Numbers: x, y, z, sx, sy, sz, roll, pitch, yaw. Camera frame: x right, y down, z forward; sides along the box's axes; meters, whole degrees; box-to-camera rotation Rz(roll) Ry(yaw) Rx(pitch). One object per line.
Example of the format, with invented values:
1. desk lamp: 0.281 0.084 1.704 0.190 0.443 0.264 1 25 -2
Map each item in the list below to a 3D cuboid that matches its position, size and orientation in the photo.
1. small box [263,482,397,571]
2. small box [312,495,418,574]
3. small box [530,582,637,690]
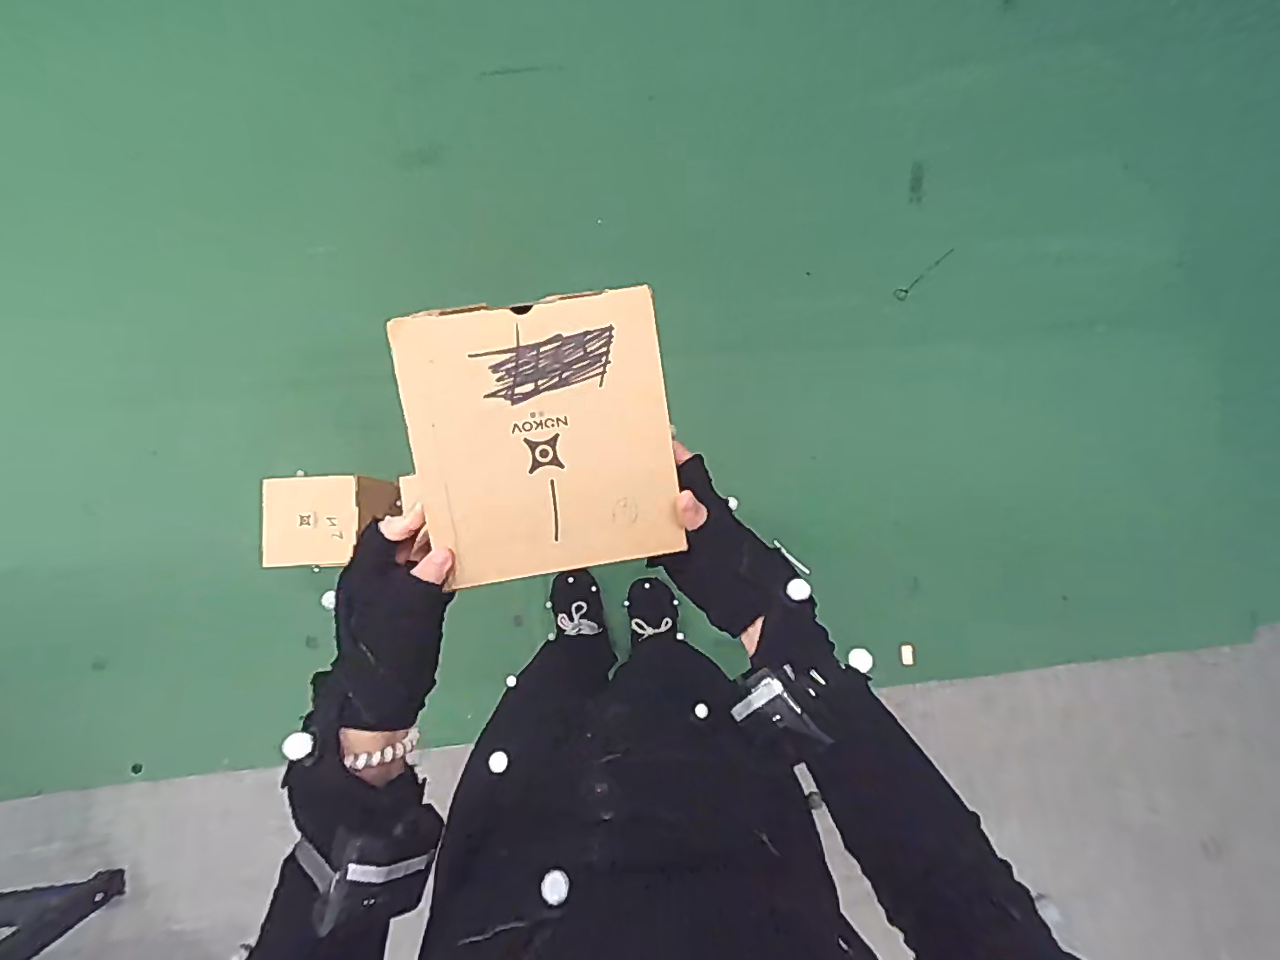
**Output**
1. small box: -0.614 0.095 1.085 0.179 0.176 0.168 -2 85 -2
2. small box: -0.627 0.121 1.248 0.168 0.176 0.179 -1 84 -2
3. small box: -0.134 0.356 1.260 0.179 0.176 0.168 25 94 18
